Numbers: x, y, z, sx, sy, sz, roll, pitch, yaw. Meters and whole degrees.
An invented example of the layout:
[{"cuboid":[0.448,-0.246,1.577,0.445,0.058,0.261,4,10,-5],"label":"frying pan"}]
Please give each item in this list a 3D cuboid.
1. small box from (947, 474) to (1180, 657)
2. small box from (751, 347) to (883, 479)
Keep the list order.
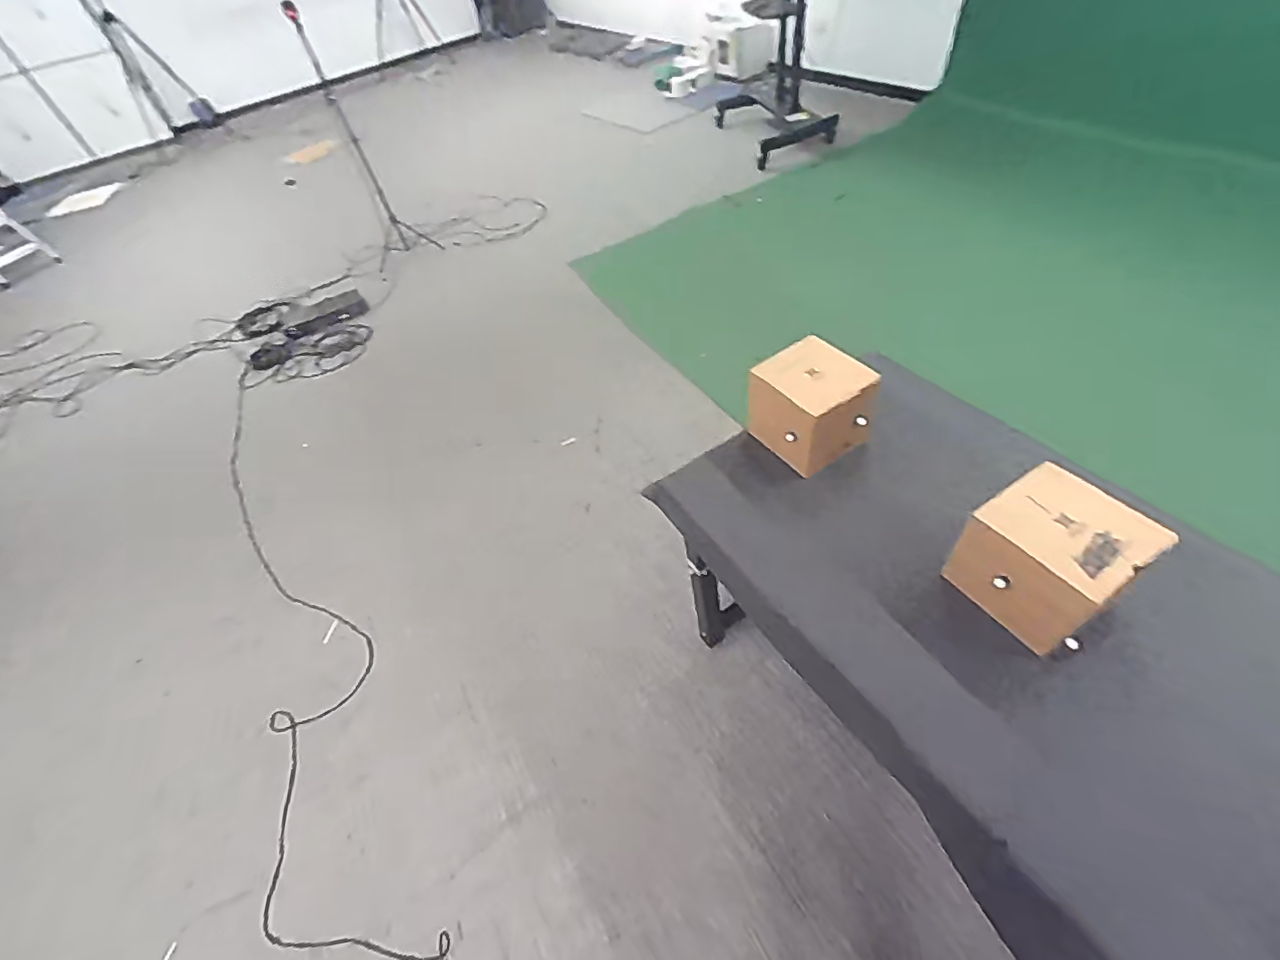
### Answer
[{"cuboid":[0.591,0.130,0.783,0.168,0.176,0.179,-27,49,-15],"label":"small box"},{"cuboid":[0.335,-0.124,1.055,0.168,0.176,0.179,-29,49,-17],"label":"small box"}]
